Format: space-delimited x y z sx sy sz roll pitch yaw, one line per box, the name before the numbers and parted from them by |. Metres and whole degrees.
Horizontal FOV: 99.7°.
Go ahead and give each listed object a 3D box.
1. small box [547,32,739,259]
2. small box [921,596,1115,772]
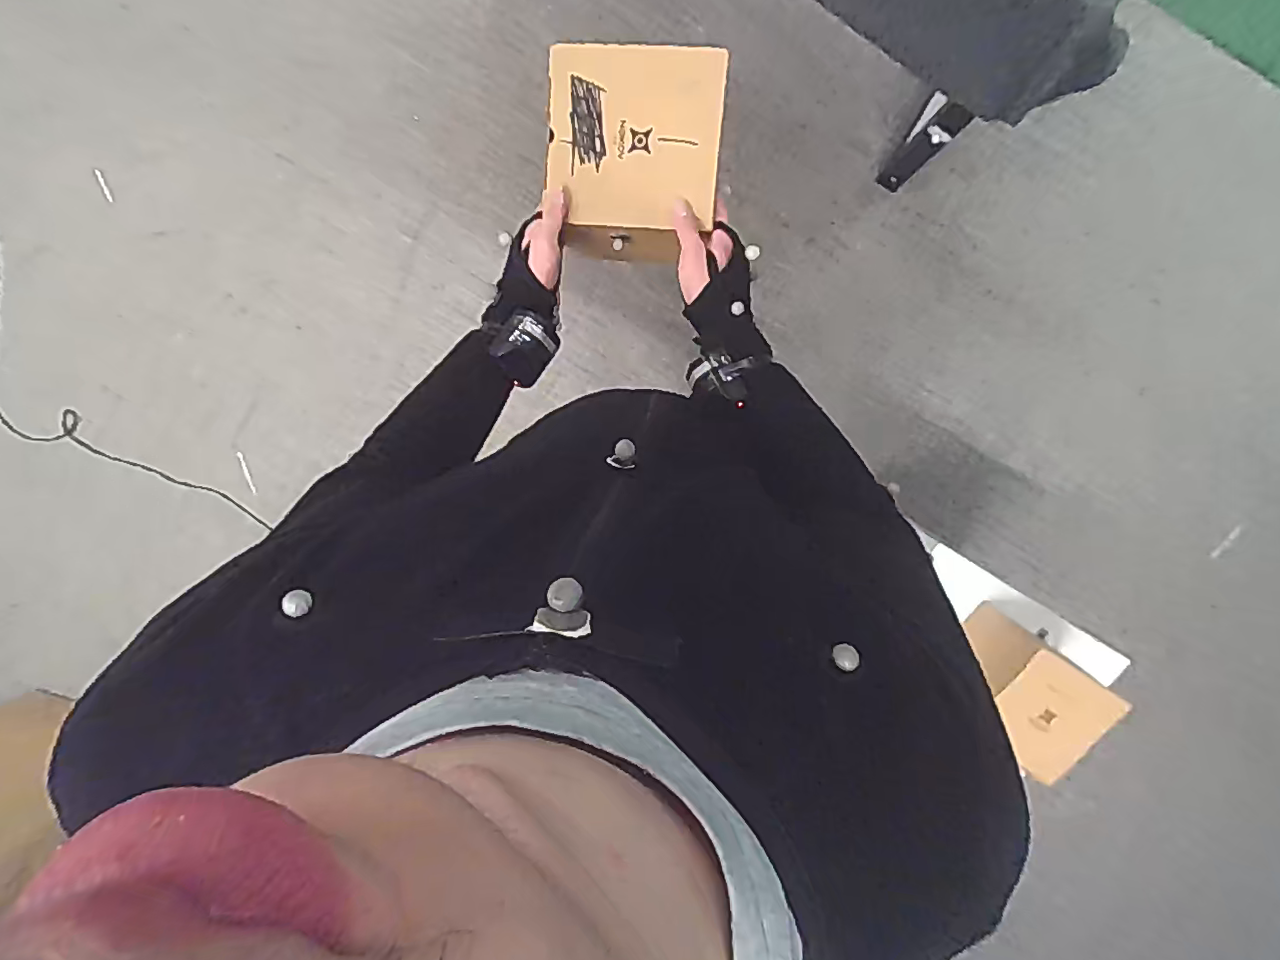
small box | 0.006 -0.352 0.601 0.179 0.176 0.168 5 102 3
small box | 0.607 0.329 0.902 0.168 0.176 0.179 32 102 -4
